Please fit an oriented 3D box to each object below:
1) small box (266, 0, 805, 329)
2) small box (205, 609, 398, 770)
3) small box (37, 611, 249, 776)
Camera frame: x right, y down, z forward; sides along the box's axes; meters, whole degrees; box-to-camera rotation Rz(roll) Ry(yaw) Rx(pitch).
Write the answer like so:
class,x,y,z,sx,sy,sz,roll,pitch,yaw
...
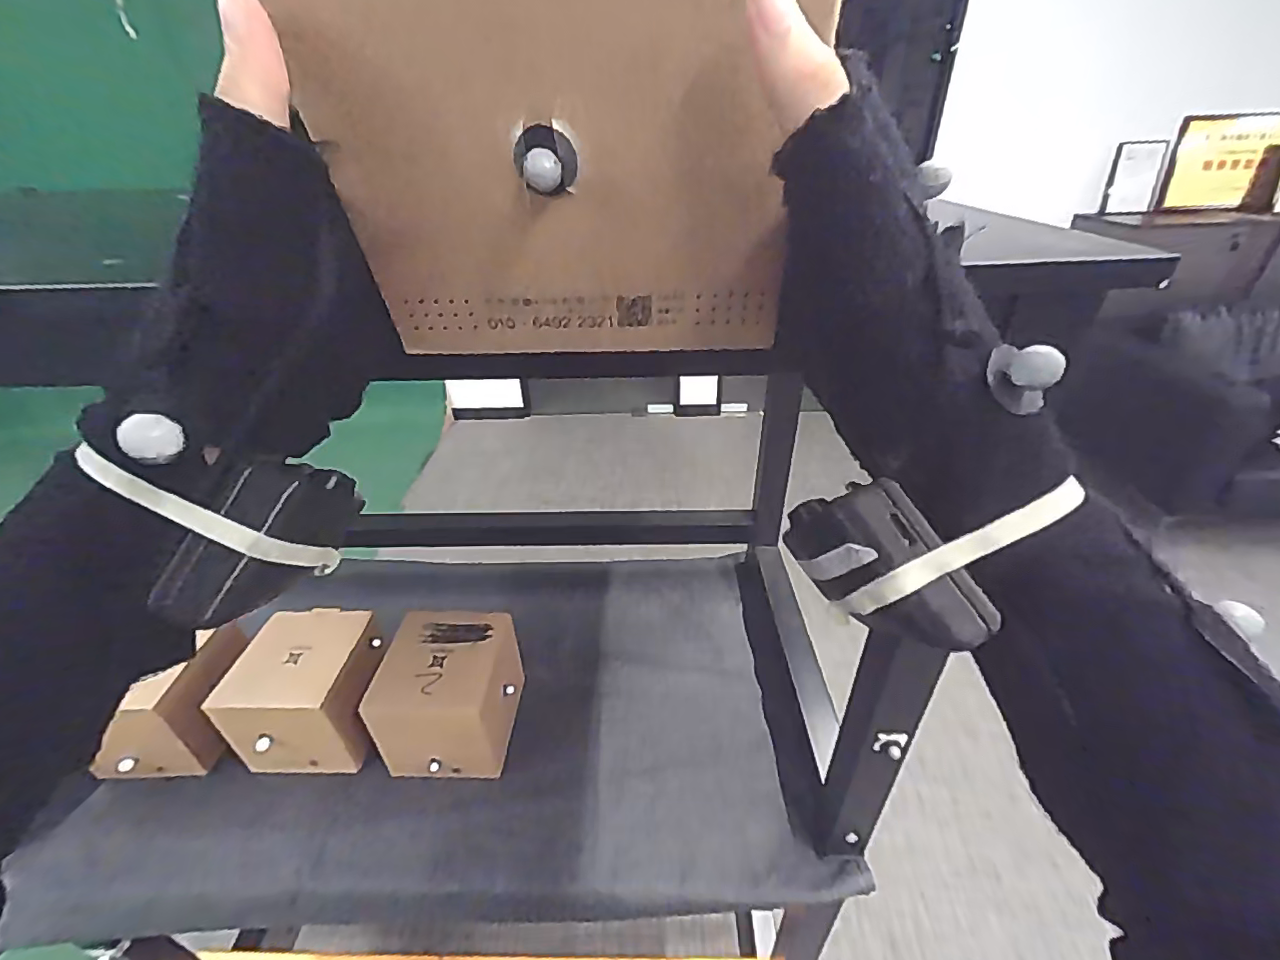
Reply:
class,x,y,z,sx,sy,sz,roll,pitch,yaw
small box,-0.027,-0.181,0.235,0.168,0.176,0.179,0,50,1
small box,-0.500,0.322,0.835,0.168,0.176,0.179,0,32,1
small box,-0.727,0.325,0.834,0.168,0.176,0.179,-2,33,0
